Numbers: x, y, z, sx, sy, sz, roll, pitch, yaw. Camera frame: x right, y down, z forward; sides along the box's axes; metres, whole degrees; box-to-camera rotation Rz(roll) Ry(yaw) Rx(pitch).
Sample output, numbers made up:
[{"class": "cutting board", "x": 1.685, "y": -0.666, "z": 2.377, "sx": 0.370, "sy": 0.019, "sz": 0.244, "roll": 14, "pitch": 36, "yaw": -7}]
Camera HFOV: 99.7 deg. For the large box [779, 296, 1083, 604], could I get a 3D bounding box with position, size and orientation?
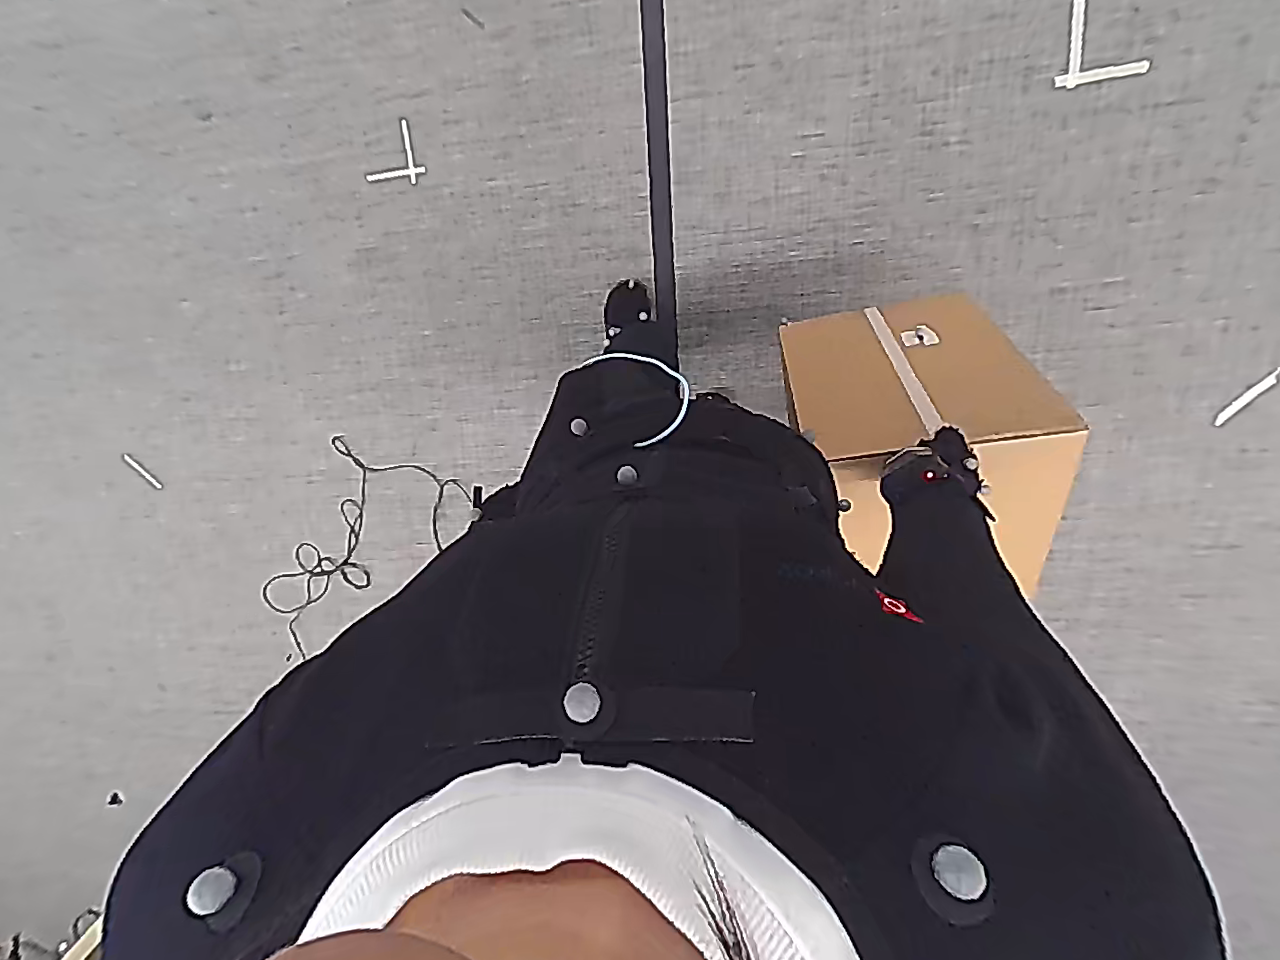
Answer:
[{"class": "large box", "x": 0.424, "y": -0.056, "z": 0.900, "sx": 0.320, "sy": 0.408, "sz": 0.320, "roll": -7, "pitch": 128, "yaw": 12}]
